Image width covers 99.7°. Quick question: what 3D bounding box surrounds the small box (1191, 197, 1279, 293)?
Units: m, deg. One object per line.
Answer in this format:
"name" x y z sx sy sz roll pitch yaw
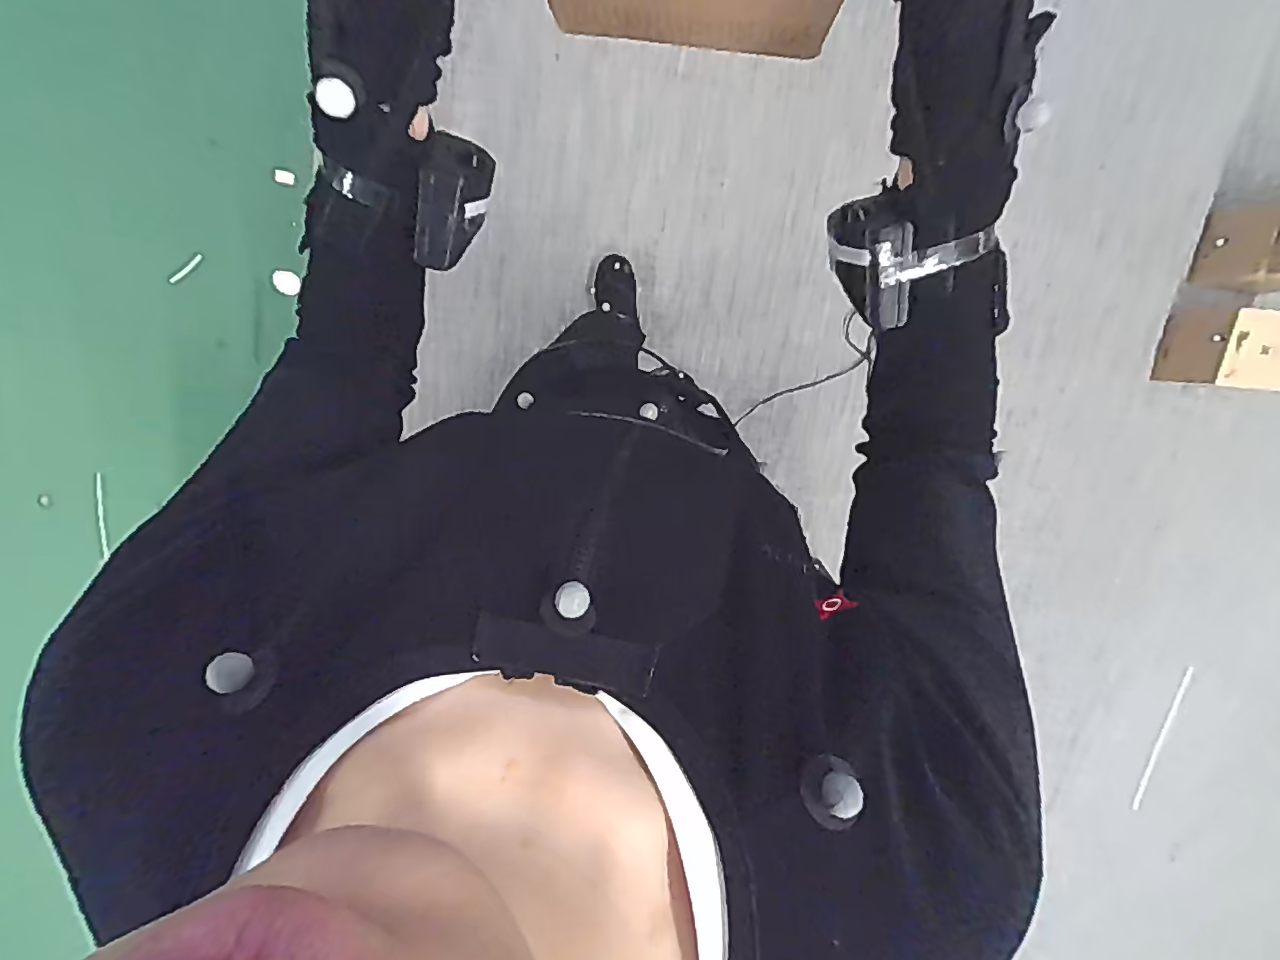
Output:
"small box" 1.390 -0.510 1.179 0.179 0.176 0.168 9 103 2

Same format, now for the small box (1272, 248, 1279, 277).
"small box" 1.386 -0.470 1.020 0.179 0.176 0.168 8 104 1

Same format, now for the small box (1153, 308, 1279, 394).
"small box" 1.350 -0.293 1.233 0.179 0.176 0.168 6 103 2
